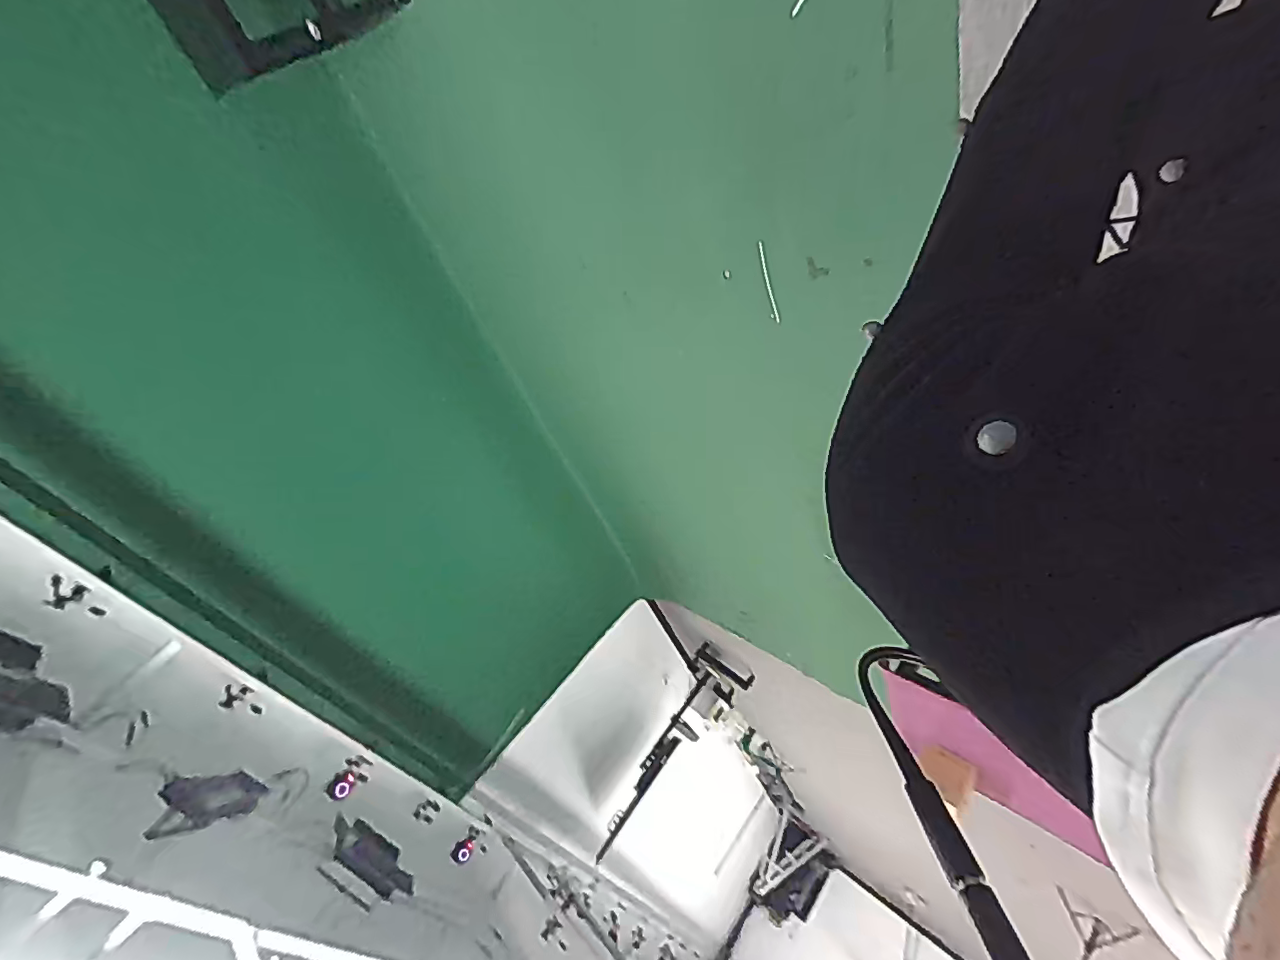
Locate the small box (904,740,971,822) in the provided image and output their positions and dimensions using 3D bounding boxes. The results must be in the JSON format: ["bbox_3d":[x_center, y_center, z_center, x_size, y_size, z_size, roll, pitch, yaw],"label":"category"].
[{"bbox_3d":[1.072,1.079,1.945,0.168,0.176,0.179,19,146,42],"label":"small box"}]
